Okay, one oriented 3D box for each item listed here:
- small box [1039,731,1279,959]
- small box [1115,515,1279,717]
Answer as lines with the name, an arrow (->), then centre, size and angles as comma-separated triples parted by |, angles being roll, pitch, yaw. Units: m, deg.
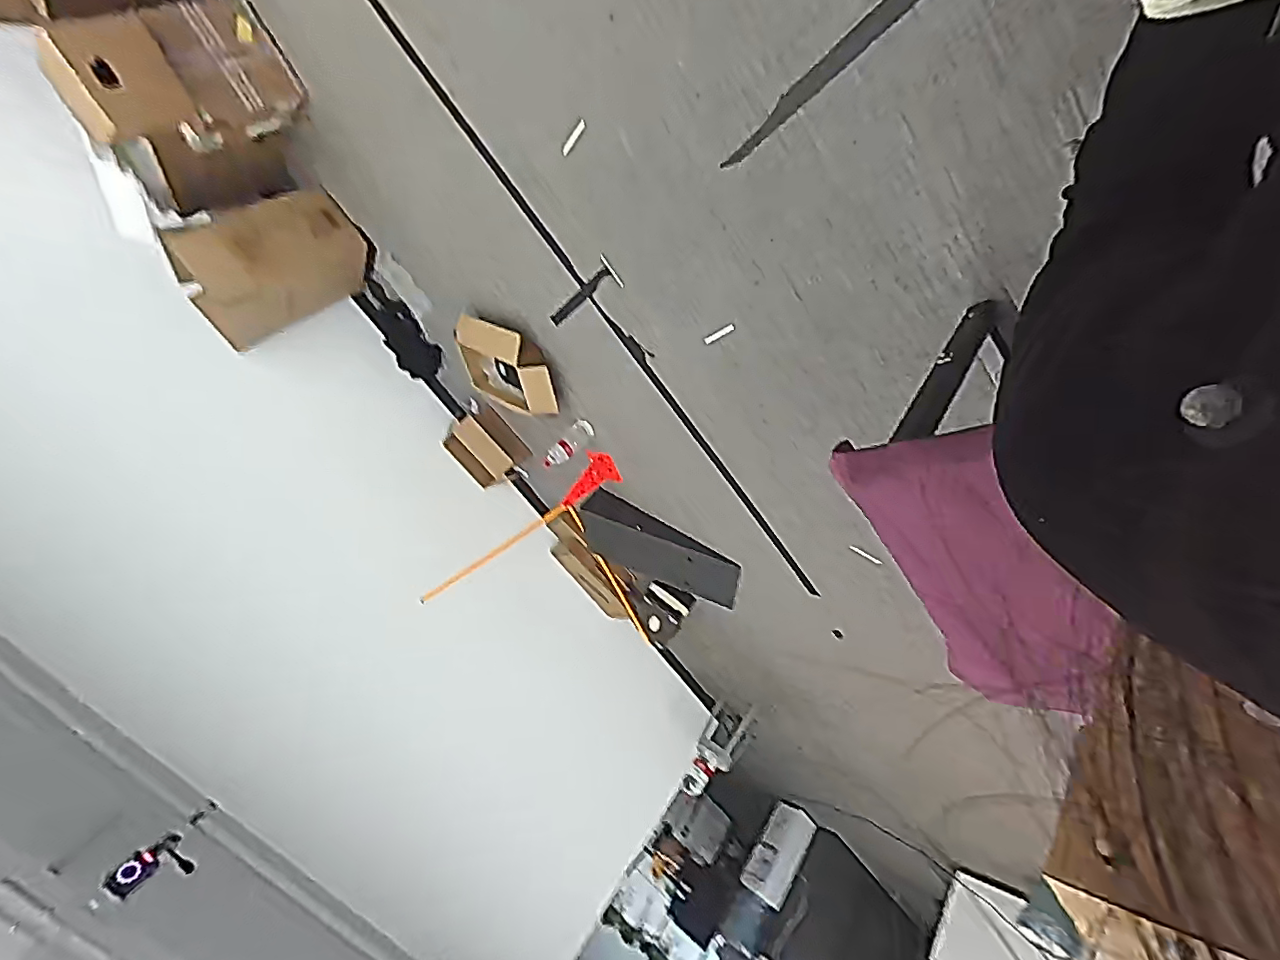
small box -> 0.509, 0.361, 0.489 | 0.168, 0.176, 0.179 | 53, 149, -16
small box -> 0.715, 0.155, 0.644 | 0.168, 0.176, 0.179 | 54, 150, -15
